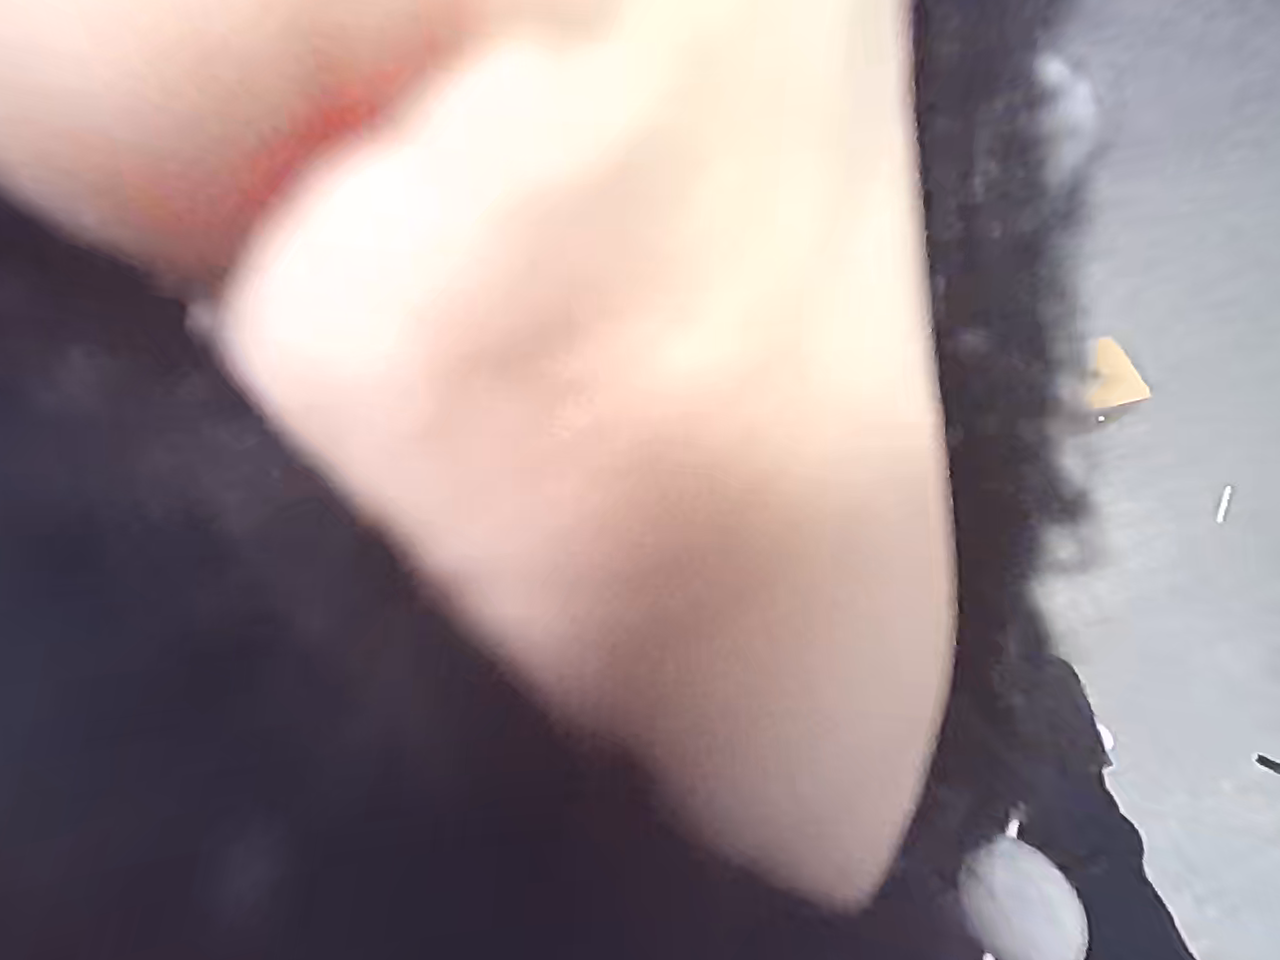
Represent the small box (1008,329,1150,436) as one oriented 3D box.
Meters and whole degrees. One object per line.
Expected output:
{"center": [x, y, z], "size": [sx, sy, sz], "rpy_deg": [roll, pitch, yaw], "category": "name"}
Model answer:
{"center": [1.006, -0.220, 1.267], "size": [0.179, 0.176, 0.168], "rpy_deg": [-14, 70, 1], "category": "small box"}
